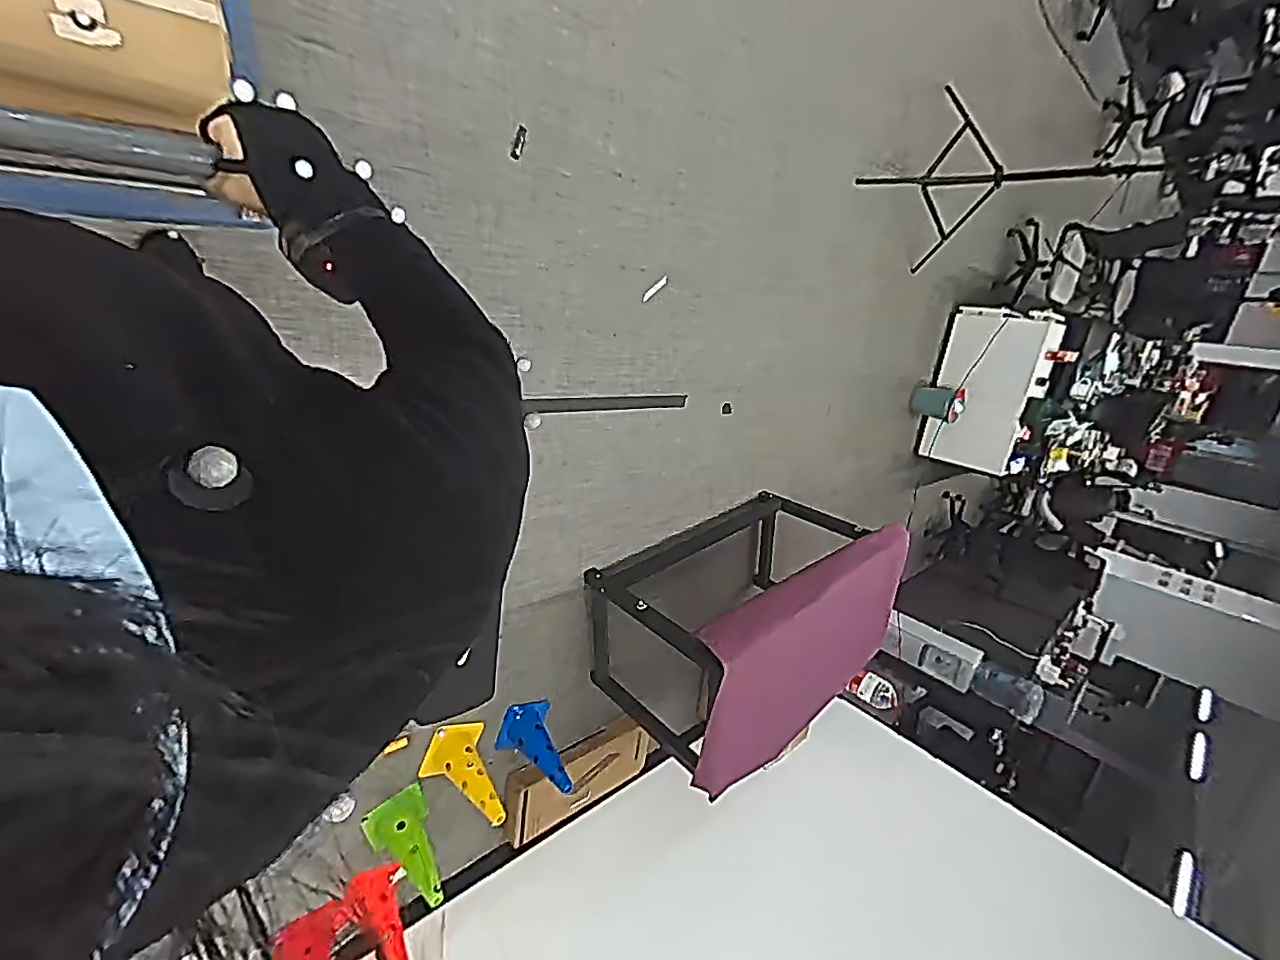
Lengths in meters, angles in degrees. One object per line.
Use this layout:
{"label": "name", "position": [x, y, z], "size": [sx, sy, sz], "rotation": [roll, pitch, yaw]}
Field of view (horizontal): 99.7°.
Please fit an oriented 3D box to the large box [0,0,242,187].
{"label": "large box", "position": [-0.792, -0.582, 0.675], "size": [0.408, 0.320, 0.320], "rotation": [-14, 116, -41]}
